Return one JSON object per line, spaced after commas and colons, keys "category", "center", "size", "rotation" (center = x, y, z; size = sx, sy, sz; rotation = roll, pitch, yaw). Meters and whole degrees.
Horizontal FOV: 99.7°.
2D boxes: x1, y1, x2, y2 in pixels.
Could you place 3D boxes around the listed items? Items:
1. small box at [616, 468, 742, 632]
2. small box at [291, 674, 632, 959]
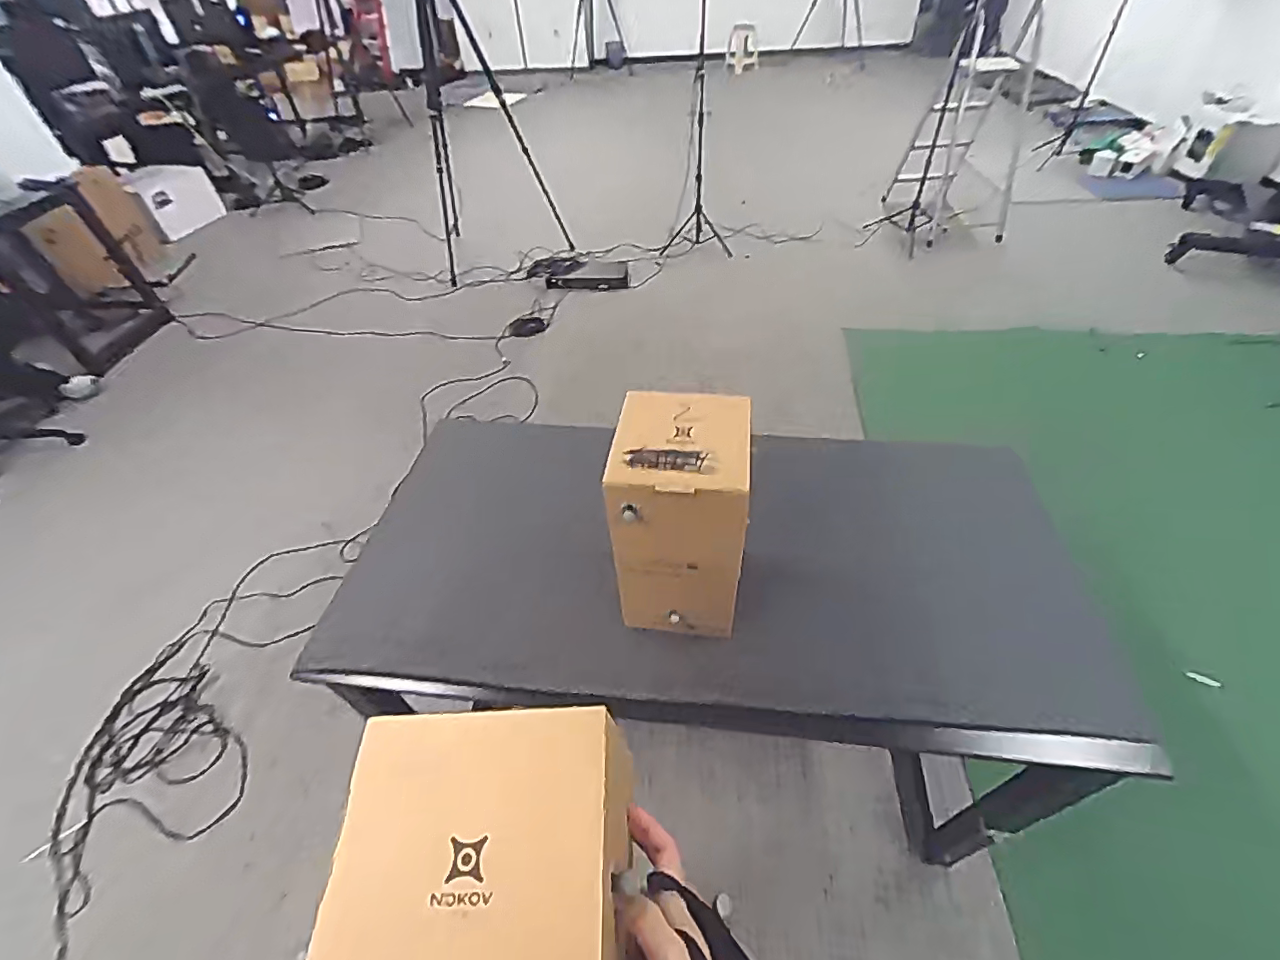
{"category": "small box", "center": [0.063, 0.106, 0.828], "size": [0.168, 0.176, 0.179], "rotation": [4, 46, 8]}
{"category": "small box", "center": [-0.095, 0.251, 0.375], "size": [0.168, 0.176, 0.179], "rotation": [-4, 53, 3]}
